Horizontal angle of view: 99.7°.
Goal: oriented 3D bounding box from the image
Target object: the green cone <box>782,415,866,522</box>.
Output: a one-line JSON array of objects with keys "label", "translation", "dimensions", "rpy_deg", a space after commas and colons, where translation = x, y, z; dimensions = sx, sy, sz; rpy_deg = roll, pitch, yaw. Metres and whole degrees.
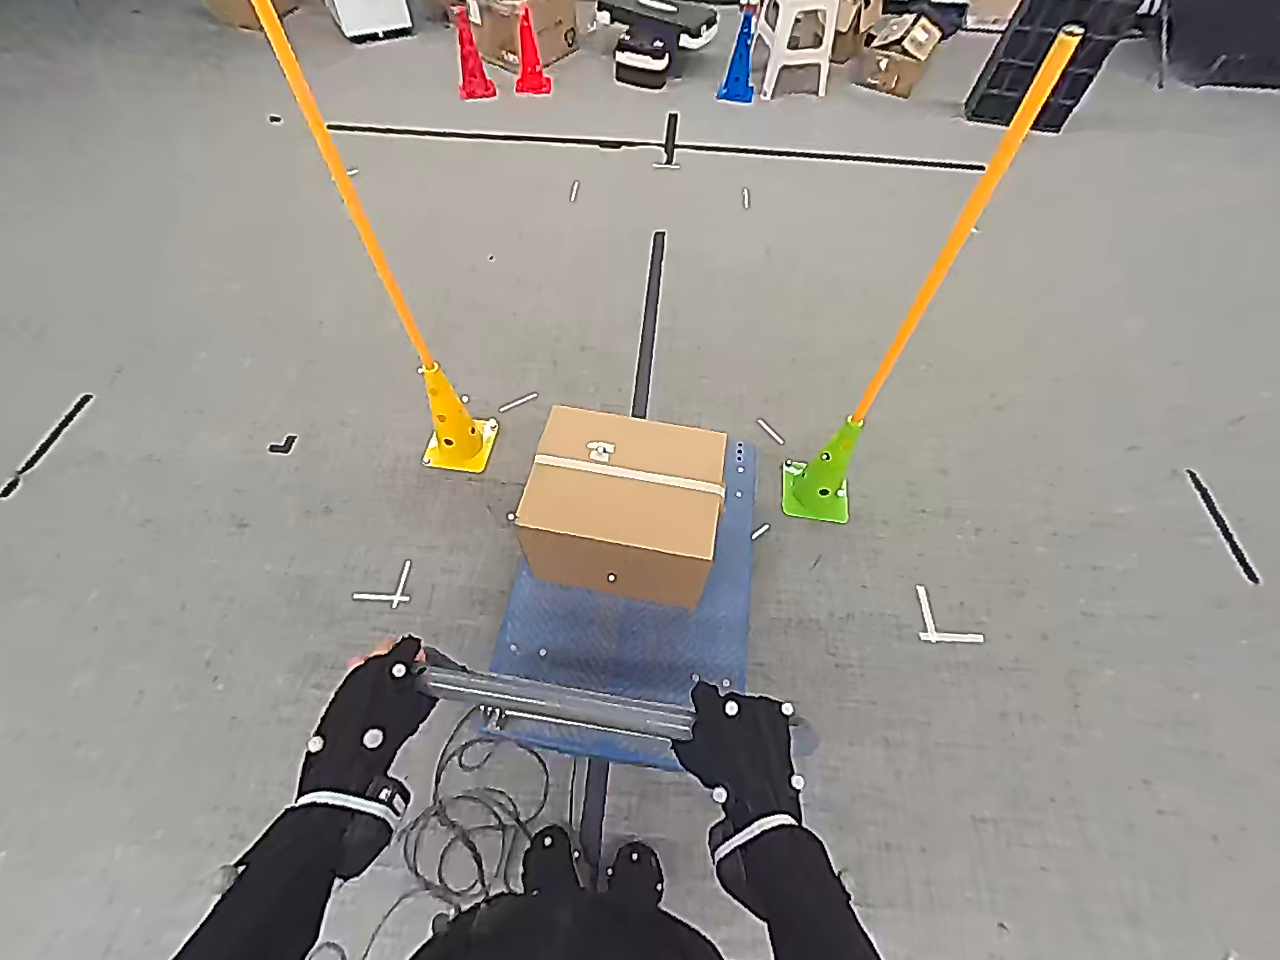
[{"label": "green cone", "translation": [0.554, -0.057, 1.554], "dimensions": [0.202, 0.368, 0.200], "rpy_deg": [9, 58, 2]}]

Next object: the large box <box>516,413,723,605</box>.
[{"label": "large box", "translation": [-0.033, 0.078, 1.285], "dimensions": [0.408, 0.320, 0.320], "rpy_deg": [10, 59, 5]}]
